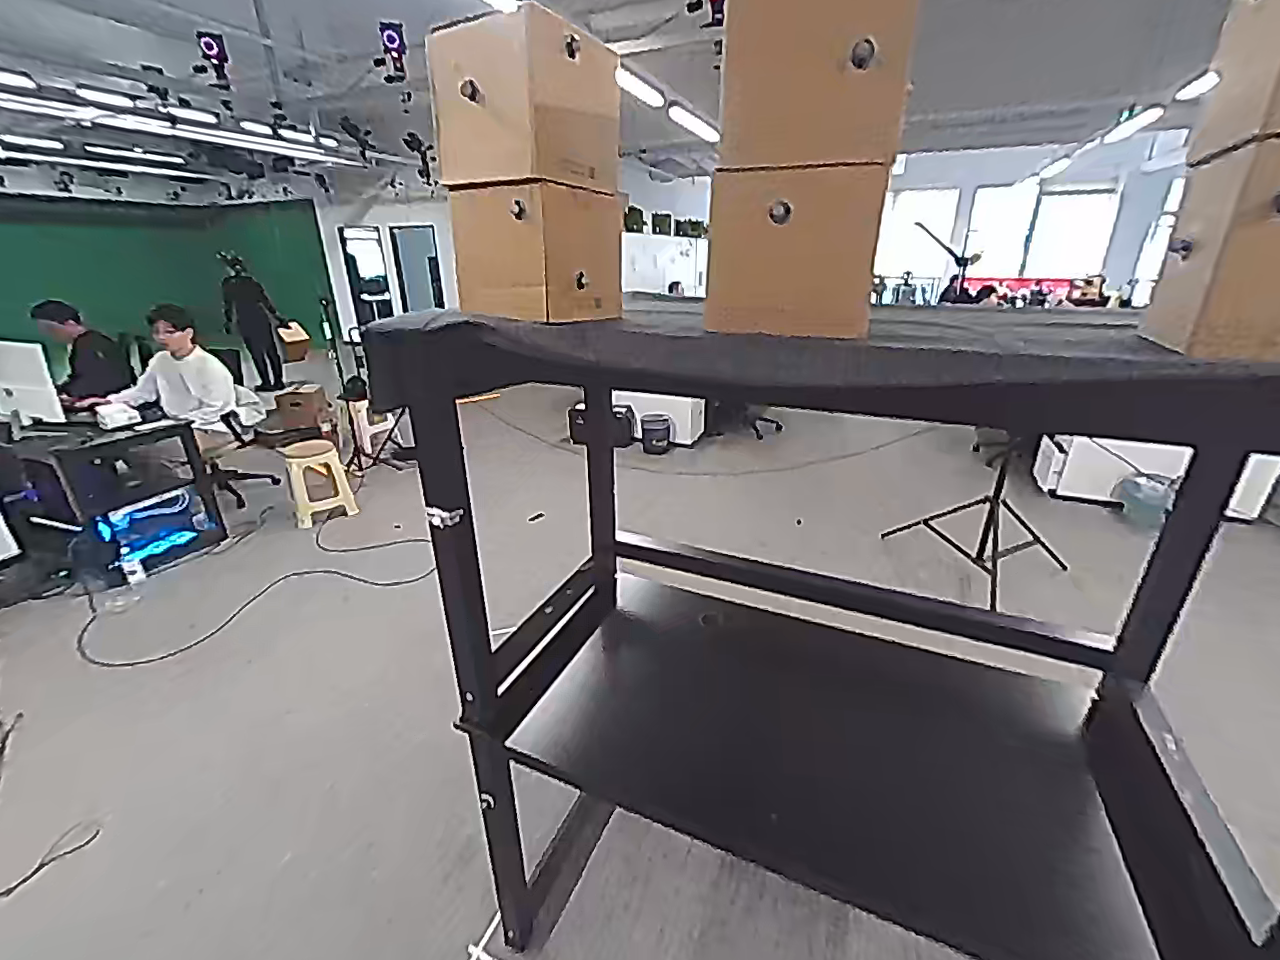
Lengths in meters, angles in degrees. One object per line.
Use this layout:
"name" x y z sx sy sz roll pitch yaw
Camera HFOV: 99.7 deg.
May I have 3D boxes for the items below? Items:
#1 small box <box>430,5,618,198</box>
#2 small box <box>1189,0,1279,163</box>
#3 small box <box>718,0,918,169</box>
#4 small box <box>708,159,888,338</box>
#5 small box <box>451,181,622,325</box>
"small box" -0.144 -0.462 0.703 0.179 0.176 0.168 13 24 31
"small box" 0.576 -0.354 0.413 0.168 0.176 0.179 10 24 27
"small box" 0.185 -0.416 0.586 0.179 0.176 0.168 5 20 16
"small box" 0.183 -0.261 0.635 0.179 0.176 0.168 9 23 20
"small box" -0.142 -0.312 0.770 0.179 0.176 0.168 14 24 30
